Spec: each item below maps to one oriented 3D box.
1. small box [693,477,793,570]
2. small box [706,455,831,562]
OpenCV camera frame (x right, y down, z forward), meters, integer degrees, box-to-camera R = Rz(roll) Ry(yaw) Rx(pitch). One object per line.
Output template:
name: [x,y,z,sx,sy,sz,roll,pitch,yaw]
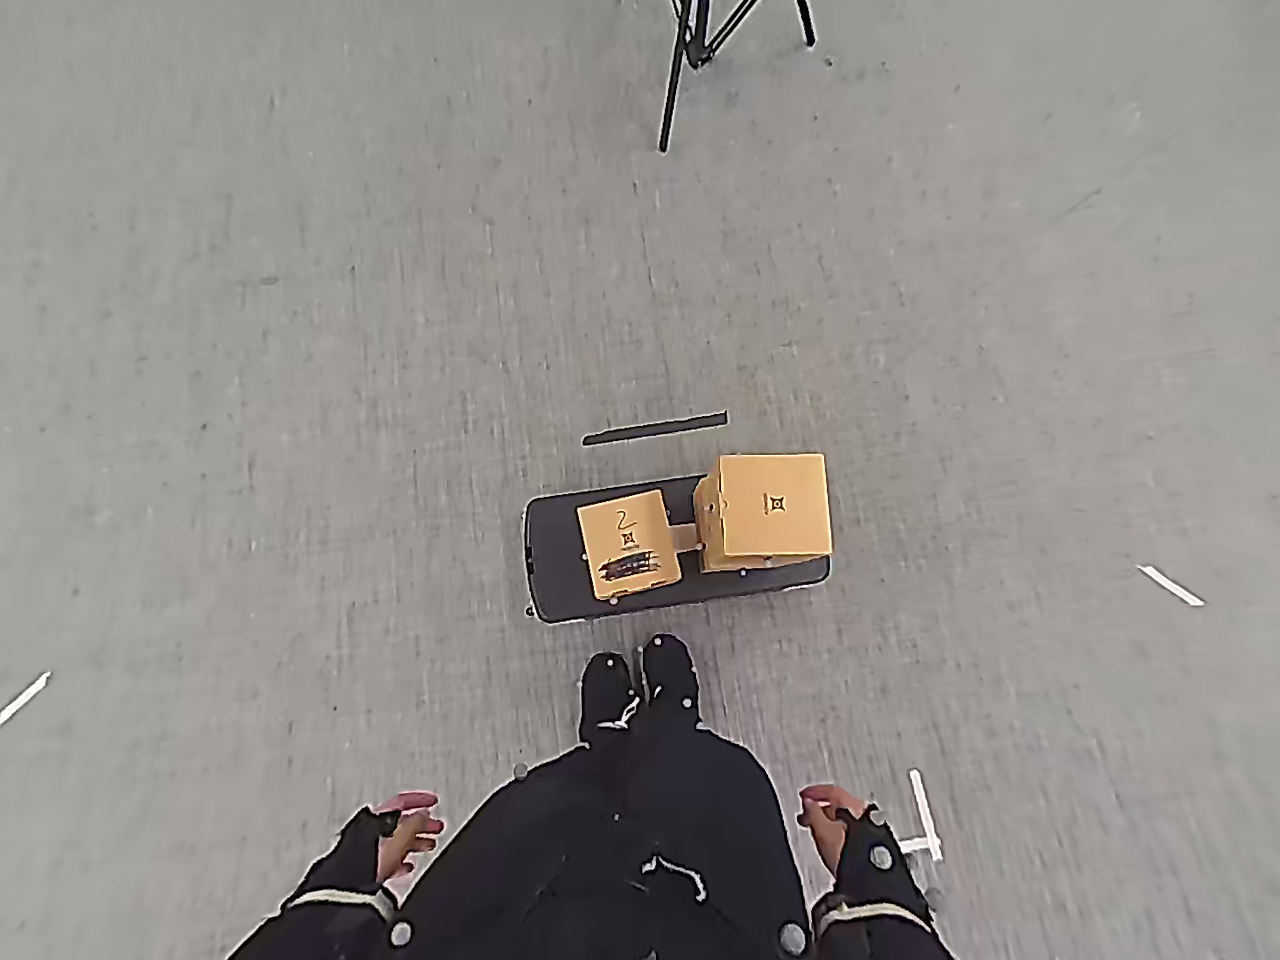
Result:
small box: [0.202,0.092,1.104,0.168,0.176,0.179,-4,77,-1]
small box: [0.214,0.054,0.945,0.179,0.176,0.168,-1,78,0]
